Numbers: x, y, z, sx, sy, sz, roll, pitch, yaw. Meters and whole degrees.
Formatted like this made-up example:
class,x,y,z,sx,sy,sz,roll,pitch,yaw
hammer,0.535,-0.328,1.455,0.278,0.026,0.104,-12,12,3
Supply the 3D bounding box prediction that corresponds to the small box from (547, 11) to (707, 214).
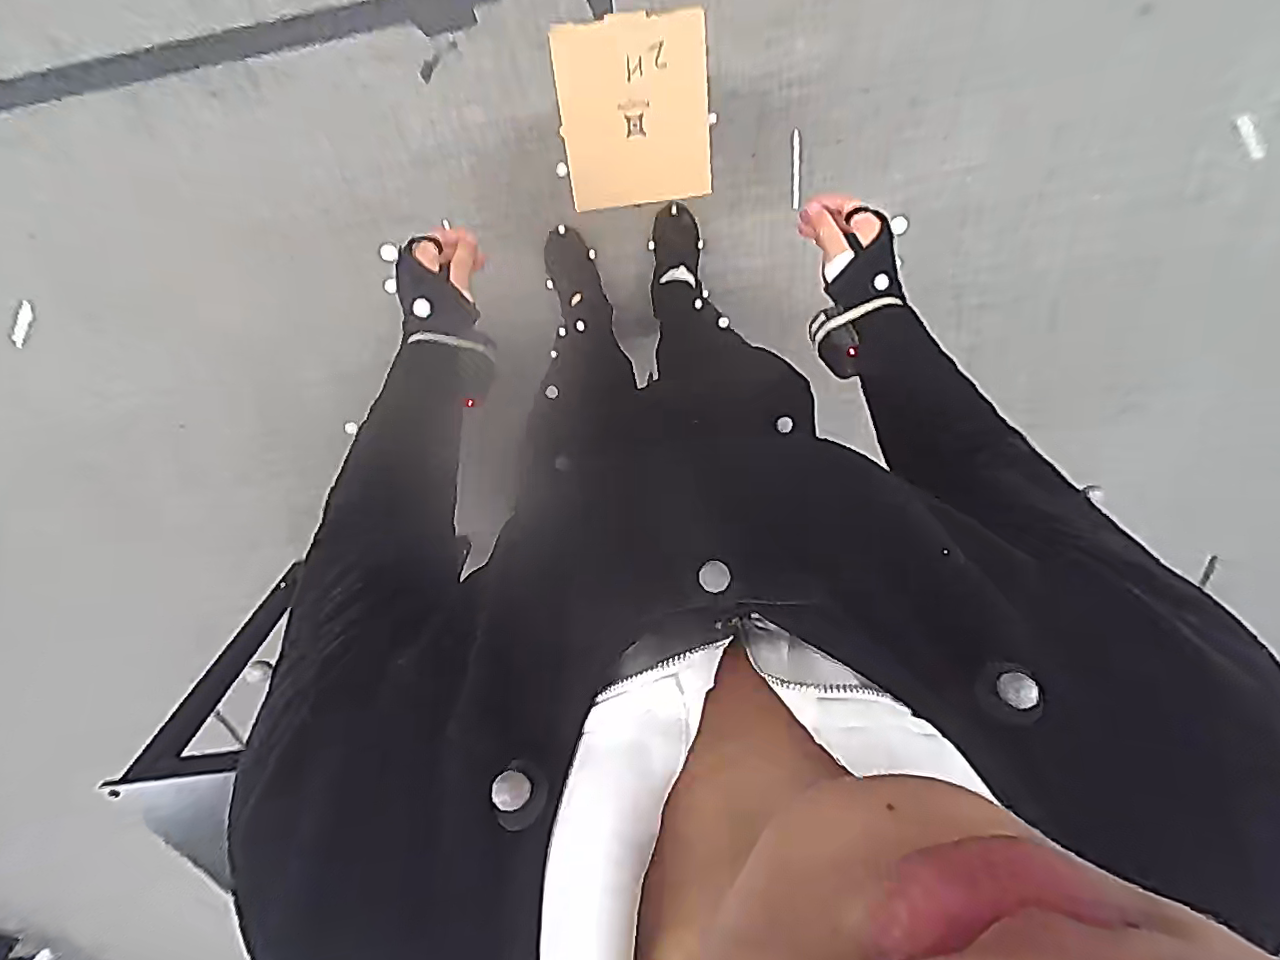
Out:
class,x,y,z,sx,sy,sz,roll,pitch,yaw
small box,-0.011,-0.444,0.673,0.168,0.176,0.179,-7,120,1
